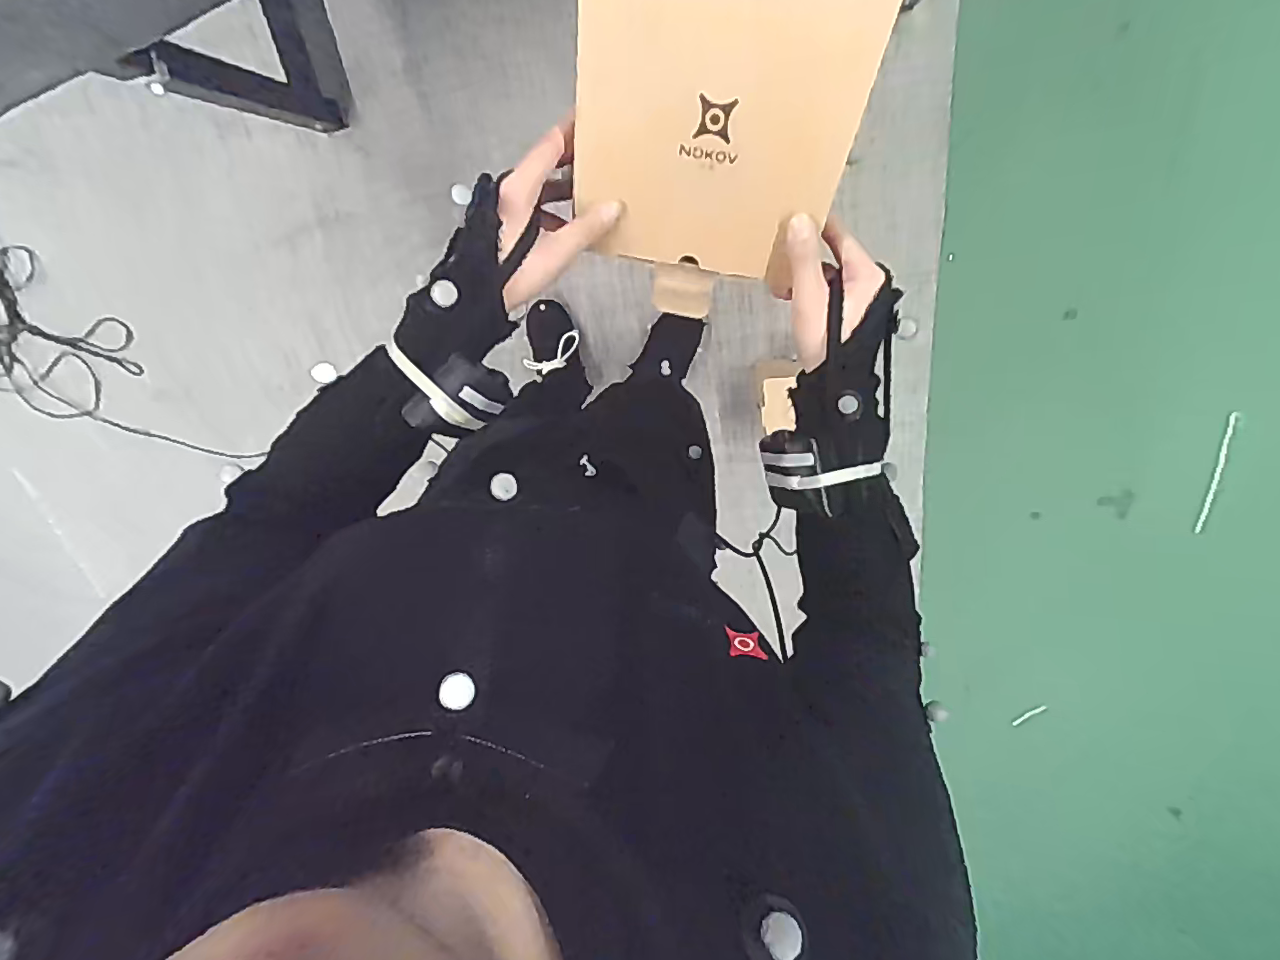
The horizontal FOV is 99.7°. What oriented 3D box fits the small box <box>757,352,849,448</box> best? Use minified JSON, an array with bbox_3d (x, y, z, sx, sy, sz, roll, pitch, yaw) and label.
[{"bbox_3d":[0.354,-0.181,1.204,0.179,0.176,0.168,-5,114,9],"label":"small box"}]
